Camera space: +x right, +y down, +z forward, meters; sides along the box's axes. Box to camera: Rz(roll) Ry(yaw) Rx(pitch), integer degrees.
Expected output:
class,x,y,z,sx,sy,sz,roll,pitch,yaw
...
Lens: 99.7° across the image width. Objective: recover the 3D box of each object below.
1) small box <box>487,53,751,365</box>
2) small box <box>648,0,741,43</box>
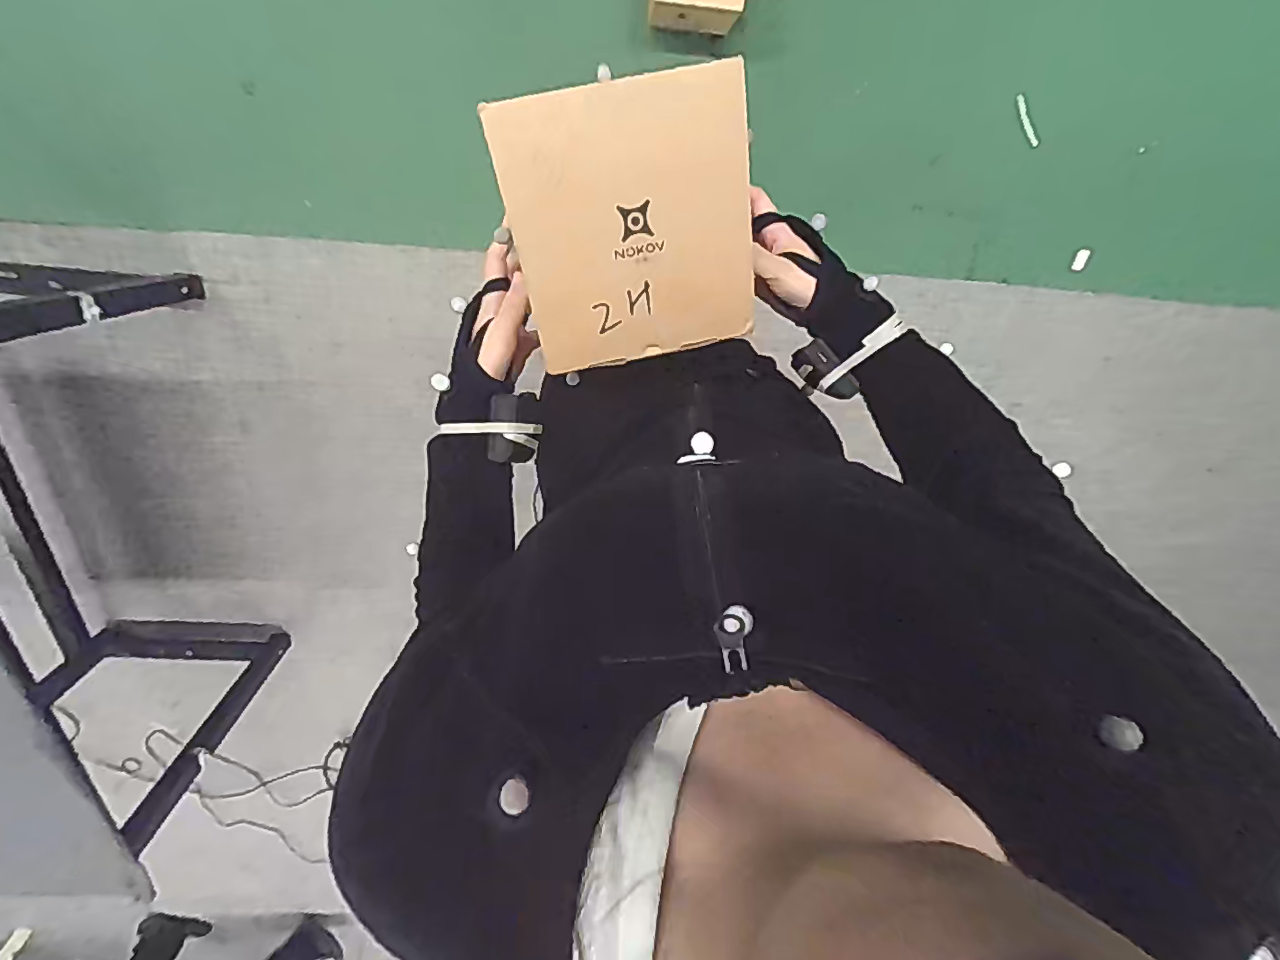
class,x,y,z,sx,sy,sz,roll,pitch,yaw
small box,-0.018,-0.215,0.442,0.168,0.176,0.179,-12,122,-4
small box,0.104,-0.956,1.016,0.168,0.176,0.179,3,115,-4
